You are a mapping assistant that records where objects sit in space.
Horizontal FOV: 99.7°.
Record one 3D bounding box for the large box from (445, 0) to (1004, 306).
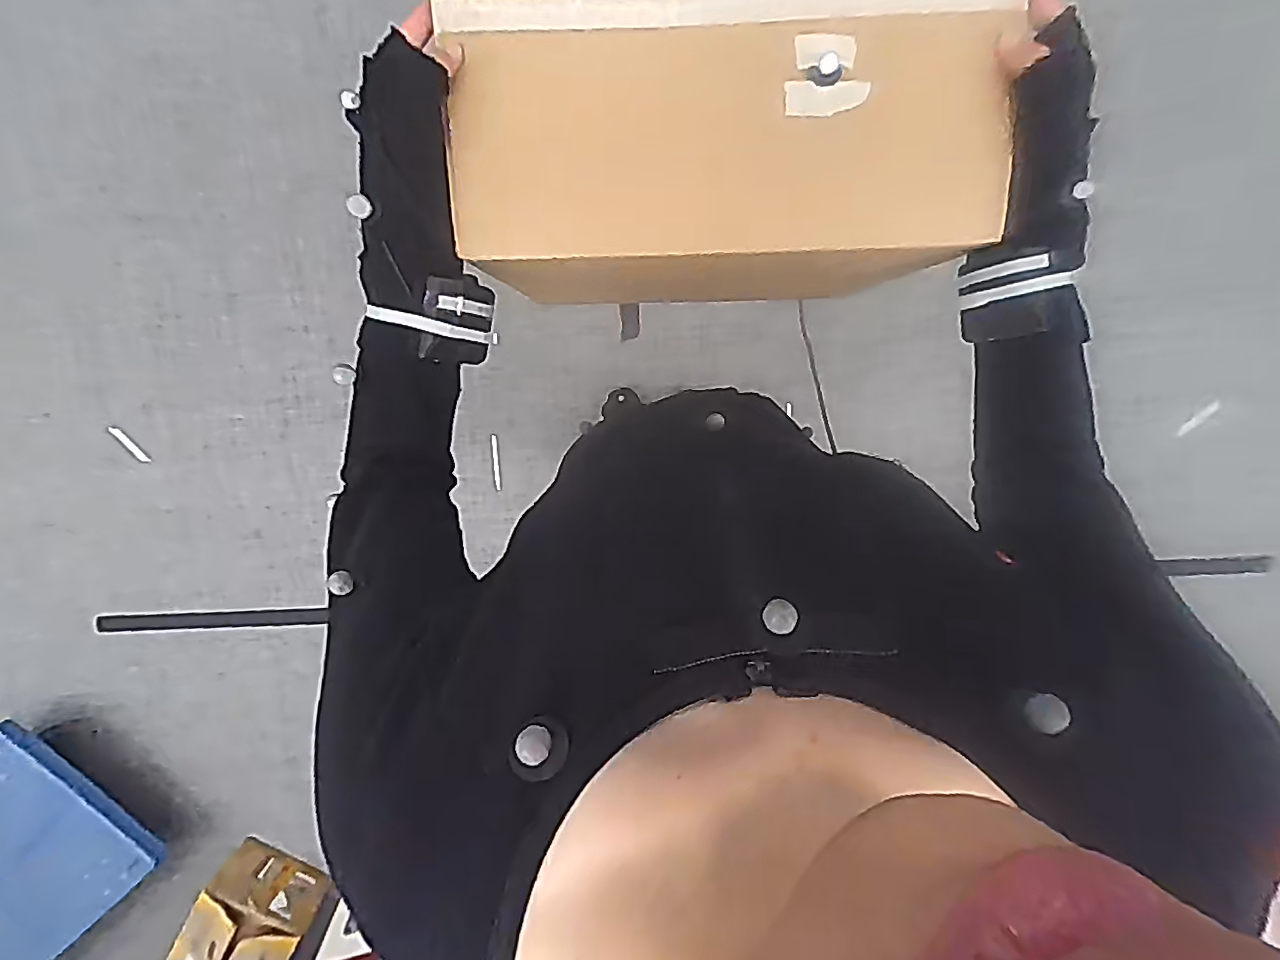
[{"bbox_3d":[0.058,-0.358,0.529,0.408,0.320,0.320,-2,101,0],"label":"large box"}]
